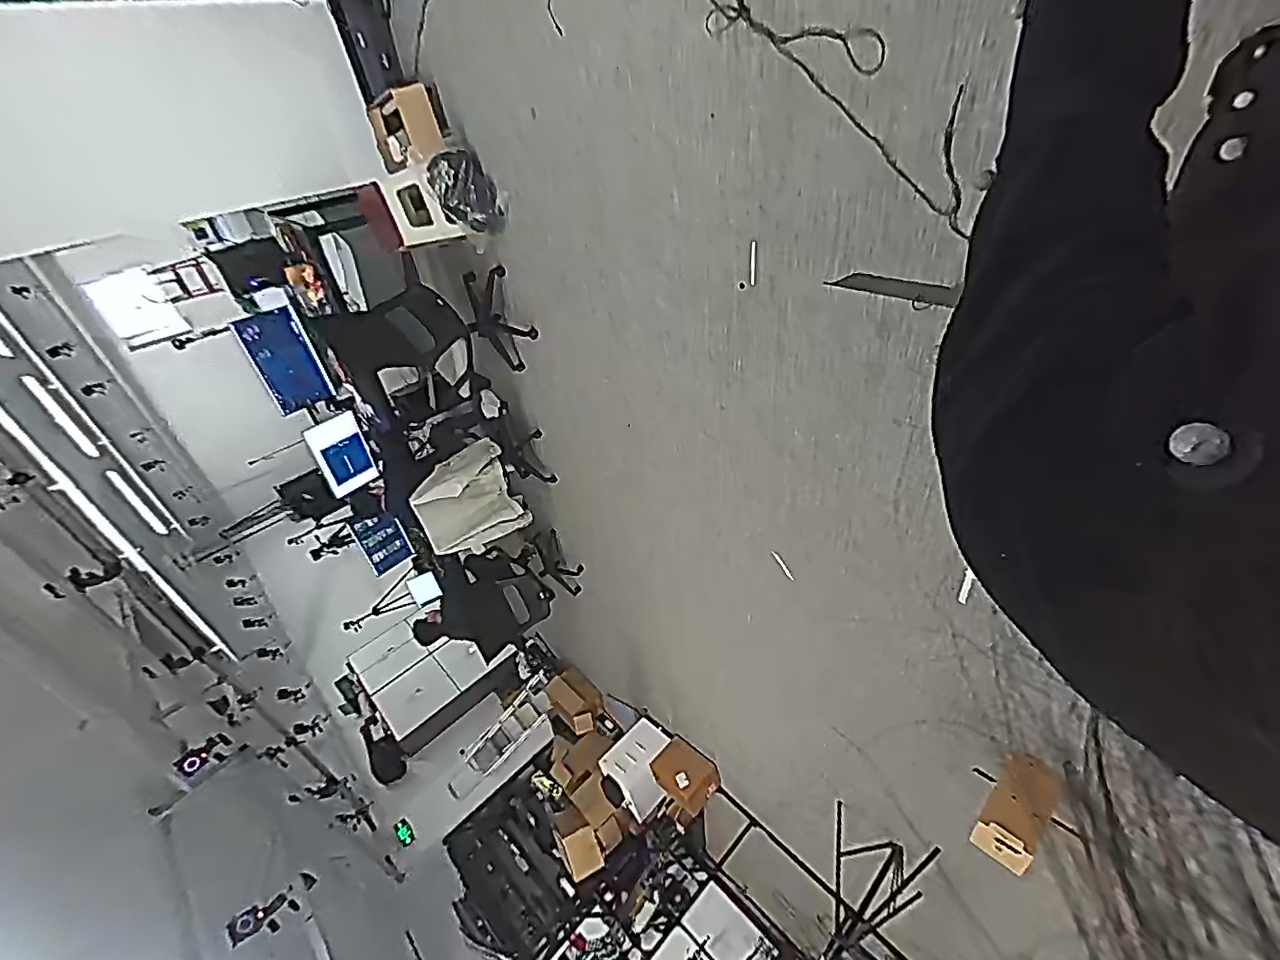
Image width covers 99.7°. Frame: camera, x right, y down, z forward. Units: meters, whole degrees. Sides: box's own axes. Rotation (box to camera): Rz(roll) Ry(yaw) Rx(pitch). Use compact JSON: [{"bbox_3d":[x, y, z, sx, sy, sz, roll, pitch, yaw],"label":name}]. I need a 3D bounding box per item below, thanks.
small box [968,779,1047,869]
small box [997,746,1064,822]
[{"bbox_3d":[1.277,1.187,1.877,0.168,0.176,0.179,27,140,41],"label":"small box"},{"bbox_3d":[1.398,1.108,1.955,0.168,0.176,0.179,26,140,42],"label":"small box"}]
